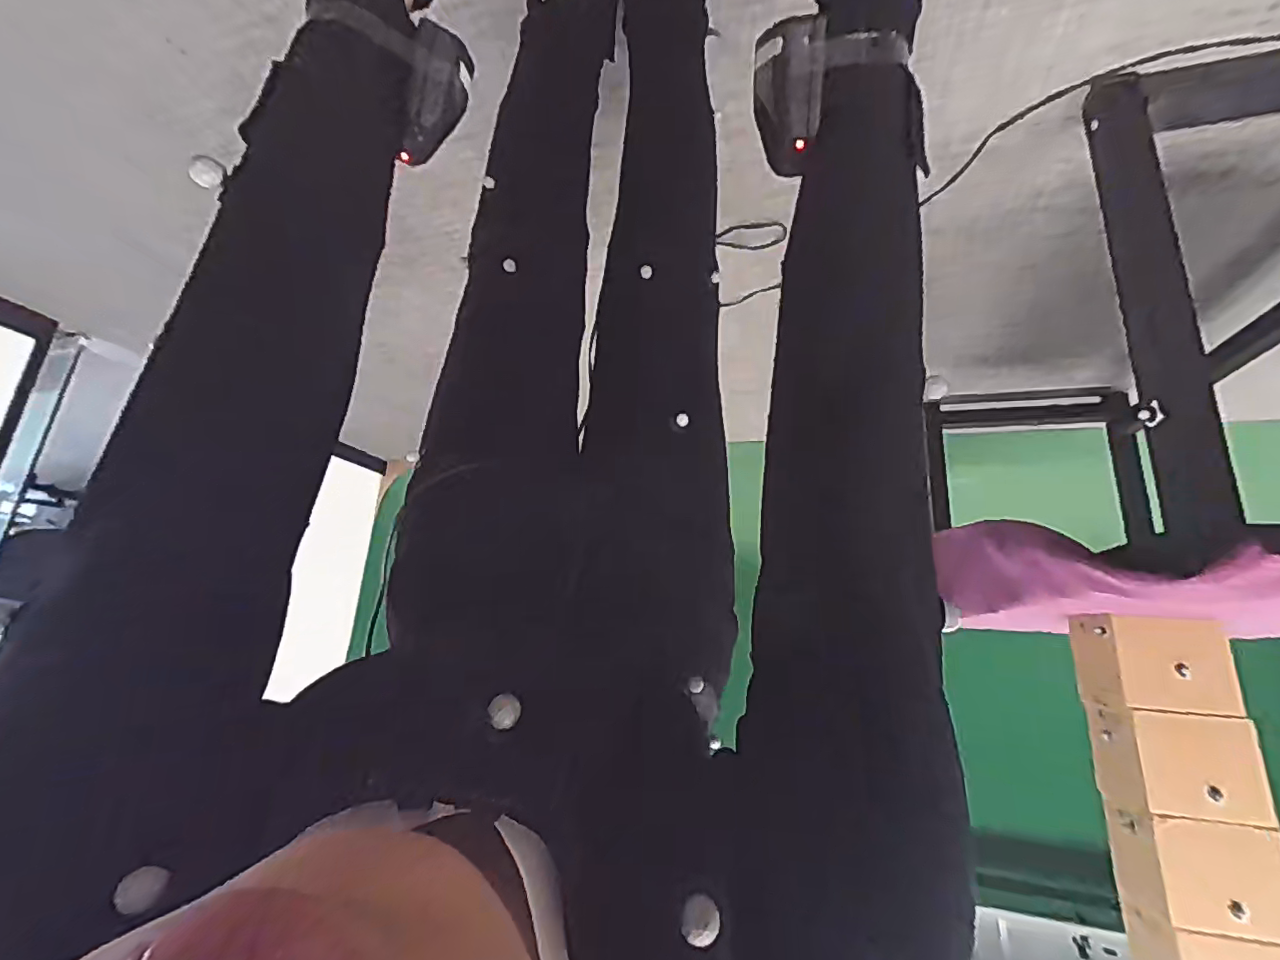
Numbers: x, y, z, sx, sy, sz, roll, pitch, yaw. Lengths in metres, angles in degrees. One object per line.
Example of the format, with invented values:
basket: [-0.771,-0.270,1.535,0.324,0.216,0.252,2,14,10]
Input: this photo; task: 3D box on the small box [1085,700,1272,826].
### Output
small box: [0.964,0.502,0.989,0.179,0.176,0.168,0,163,15]

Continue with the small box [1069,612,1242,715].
small box: [0.968,0.345,1.039,0.179,0.176,0.168,-1,163,14]

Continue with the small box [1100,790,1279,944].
small box: [0.957,0.658,0.943,0.179,0.176,0.168,0,163,15]
